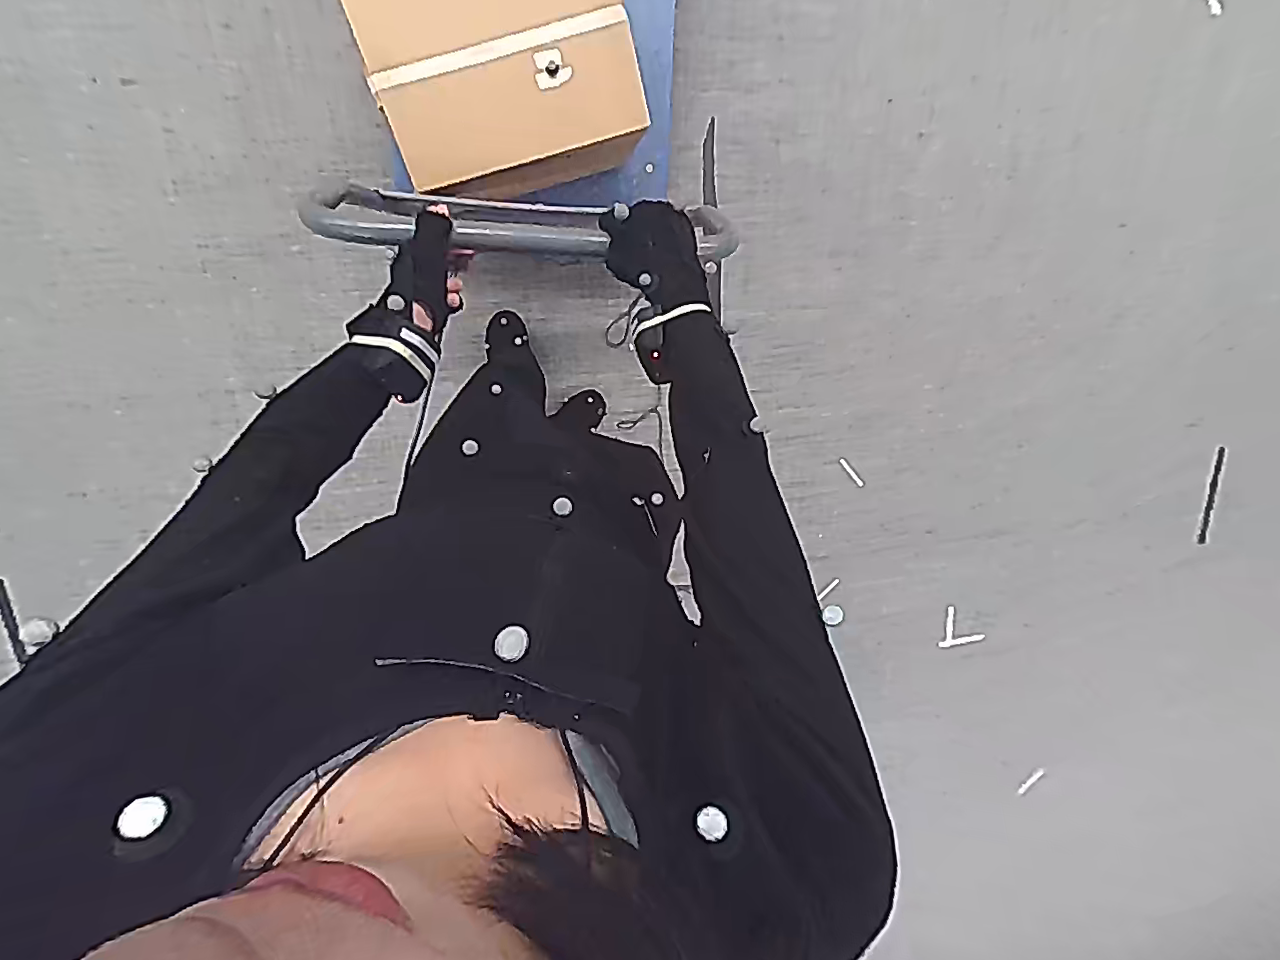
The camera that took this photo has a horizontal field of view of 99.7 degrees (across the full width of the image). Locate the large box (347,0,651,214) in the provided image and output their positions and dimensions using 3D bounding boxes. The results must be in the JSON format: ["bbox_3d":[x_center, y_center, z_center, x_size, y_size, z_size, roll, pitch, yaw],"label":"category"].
[{"bbox_3d":[-0.236,-0.717,0.973,0.408,0.320,0.320,-19,112,-4],"label":"large box"}]
